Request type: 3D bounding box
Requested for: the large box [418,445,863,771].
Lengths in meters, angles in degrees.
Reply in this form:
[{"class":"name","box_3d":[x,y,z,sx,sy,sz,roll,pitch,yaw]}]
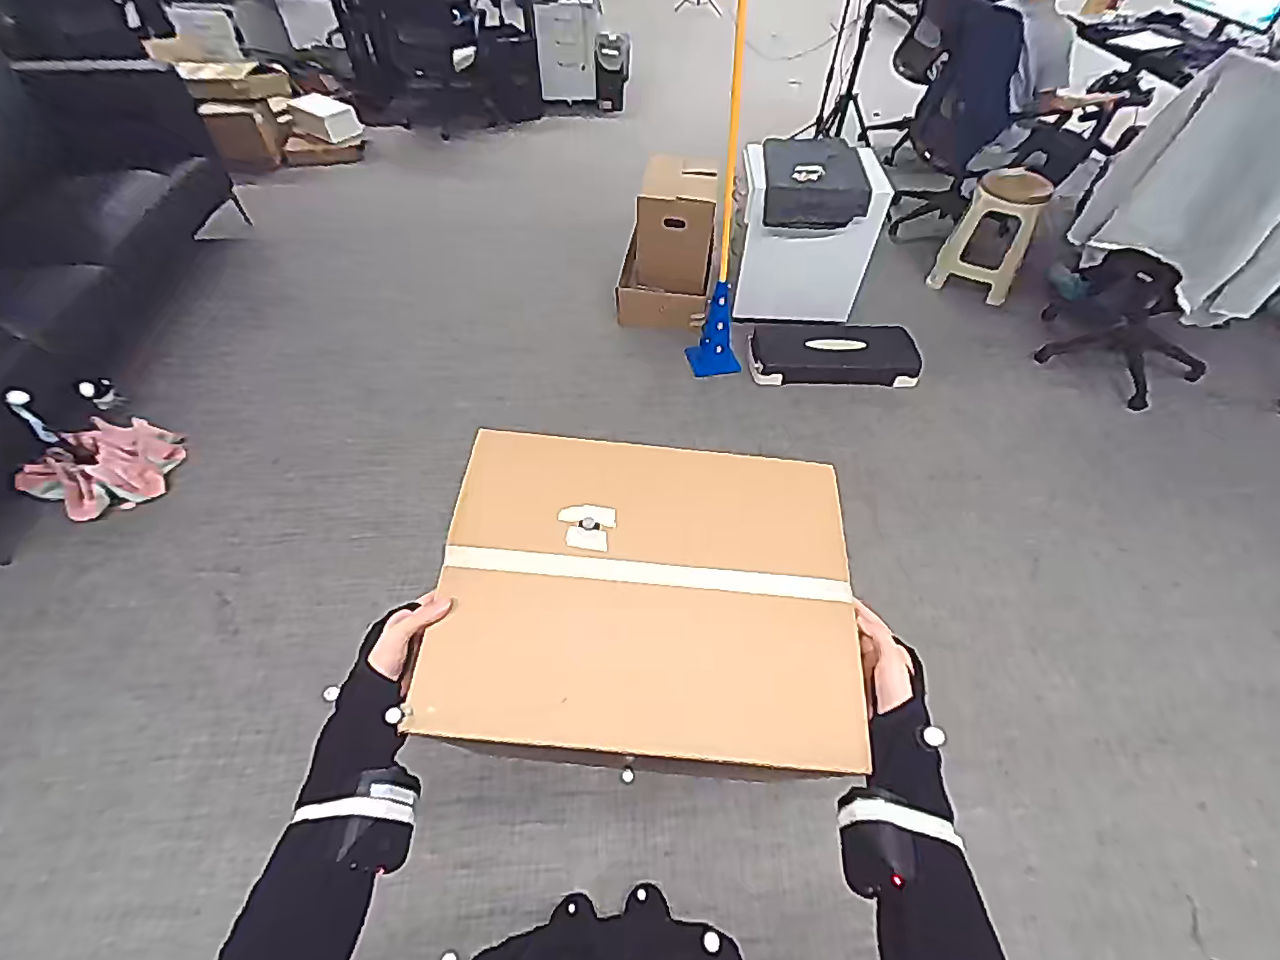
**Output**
[{"class":"large box","box_3d":[0.006,0.179,0.679,0.408,0.320,0.320,5,59,0]}]
